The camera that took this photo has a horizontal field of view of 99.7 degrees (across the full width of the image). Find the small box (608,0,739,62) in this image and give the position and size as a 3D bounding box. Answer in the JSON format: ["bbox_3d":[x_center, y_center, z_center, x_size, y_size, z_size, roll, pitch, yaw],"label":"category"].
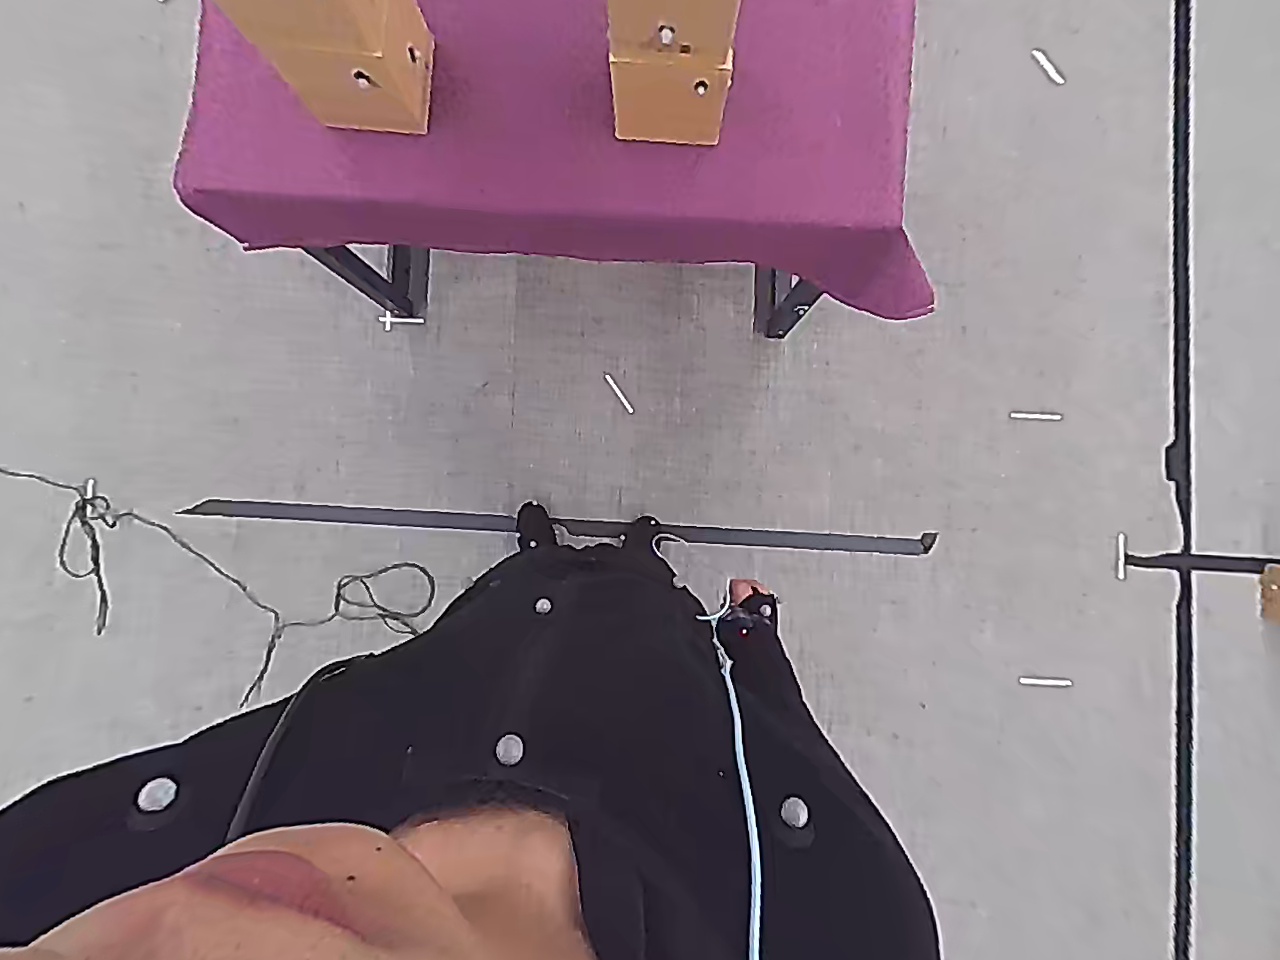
[{"bbox_3d":[0.046,-0.677,0.675,0.168,0.176,0.179,4,89,0],"label":"small box"}]

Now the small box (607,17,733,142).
[{"bbox_3d":[0.046,-0.660,0.839,0.179,0.176,0.168,4,88,-1],"label":"small box"}]

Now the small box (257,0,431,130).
[{"bbox_3d":[-0.442,-0.677,0.835,0.179,0.176,0.168,5,88,0],"label":"small box"}]
